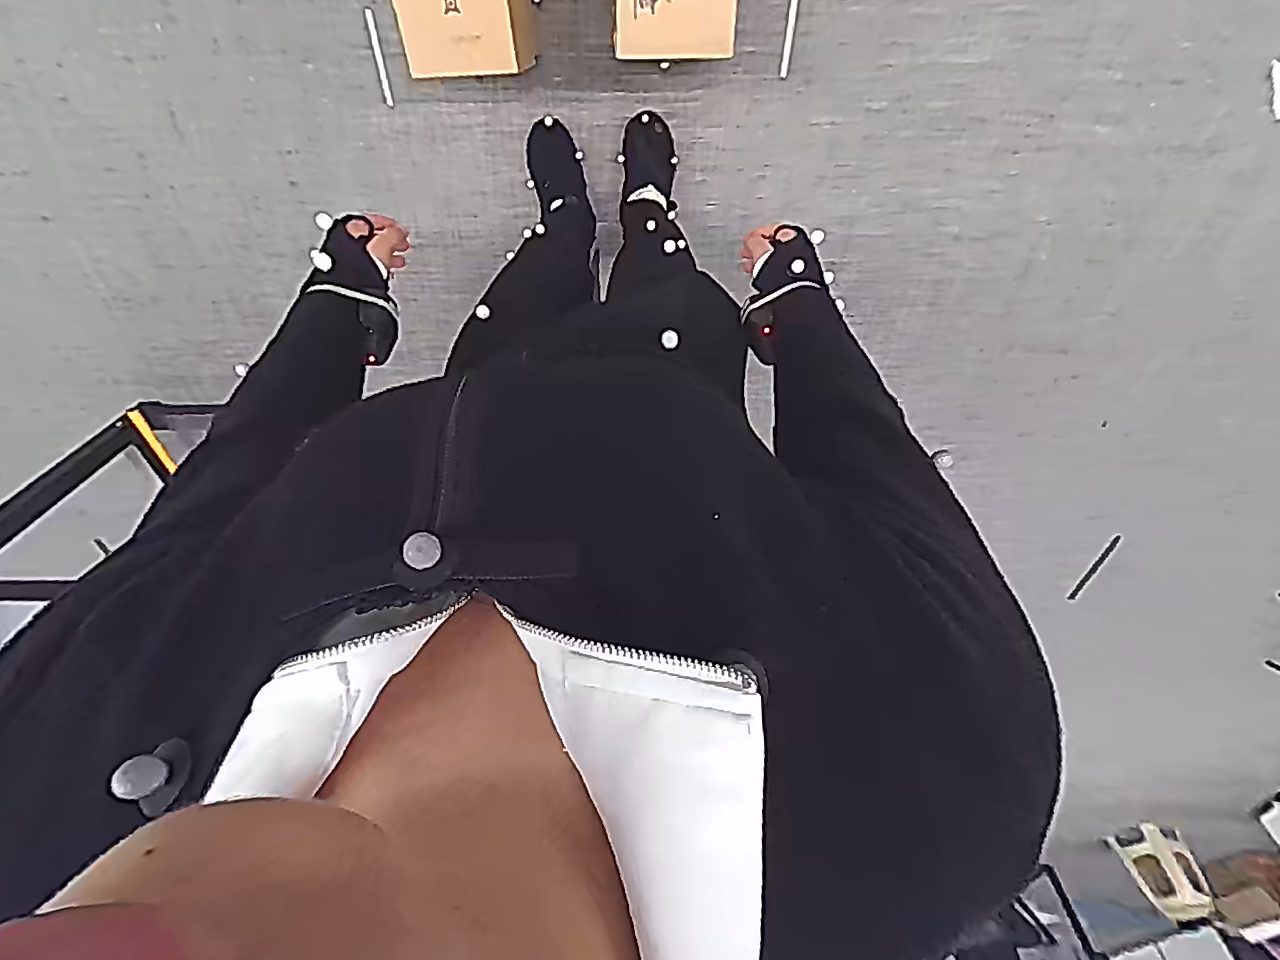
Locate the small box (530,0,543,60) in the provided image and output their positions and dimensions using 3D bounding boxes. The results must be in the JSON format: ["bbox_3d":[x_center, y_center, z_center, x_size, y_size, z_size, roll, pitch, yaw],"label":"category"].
[{"bbox_3d":[-0.272,-0.833,0.946,0.179,0.176,0.168,-2,130,2],"label":"small box"}]

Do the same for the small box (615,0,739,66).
[{"bbox_3d":[0.052,-0.733,0.818,0.179,0.176,0.168,-1,130,-1],"label":"small box"}]

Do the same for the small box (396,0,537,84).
[{"bbox_3d":[-0.262,-0.723,0.827,0.168,0.176,0.179,-1,131,3],"label":"small box"}]
